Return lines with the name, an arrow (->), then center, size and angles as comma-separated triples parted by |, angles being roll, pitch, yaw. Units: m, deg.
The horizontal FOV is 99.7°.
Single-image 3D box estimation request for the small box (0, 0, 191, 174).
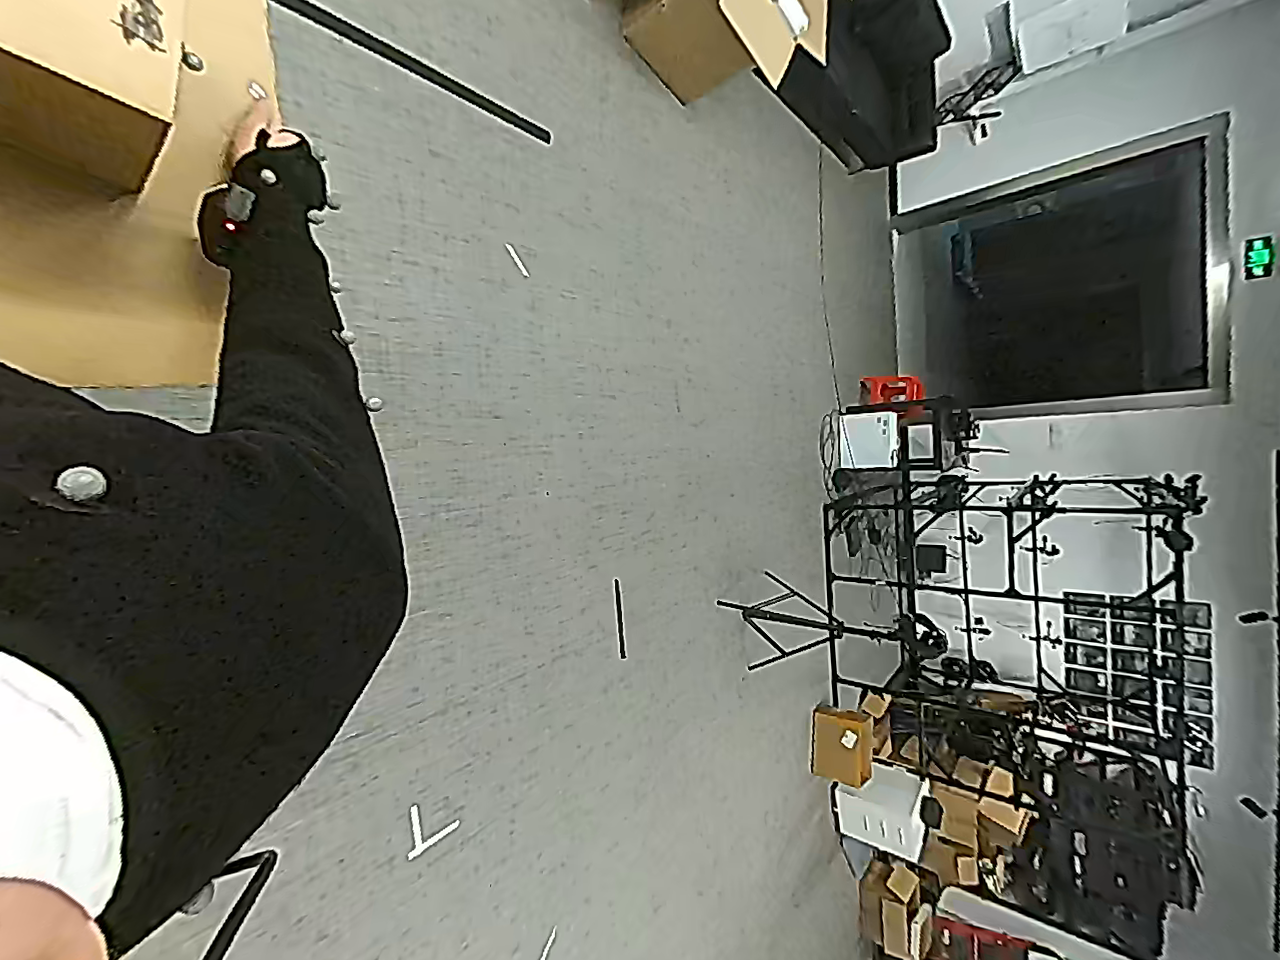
small box -> -0.456, -0.361, 0.396 | 0.179, 0.176, 0.168 | 7, 88, -48
